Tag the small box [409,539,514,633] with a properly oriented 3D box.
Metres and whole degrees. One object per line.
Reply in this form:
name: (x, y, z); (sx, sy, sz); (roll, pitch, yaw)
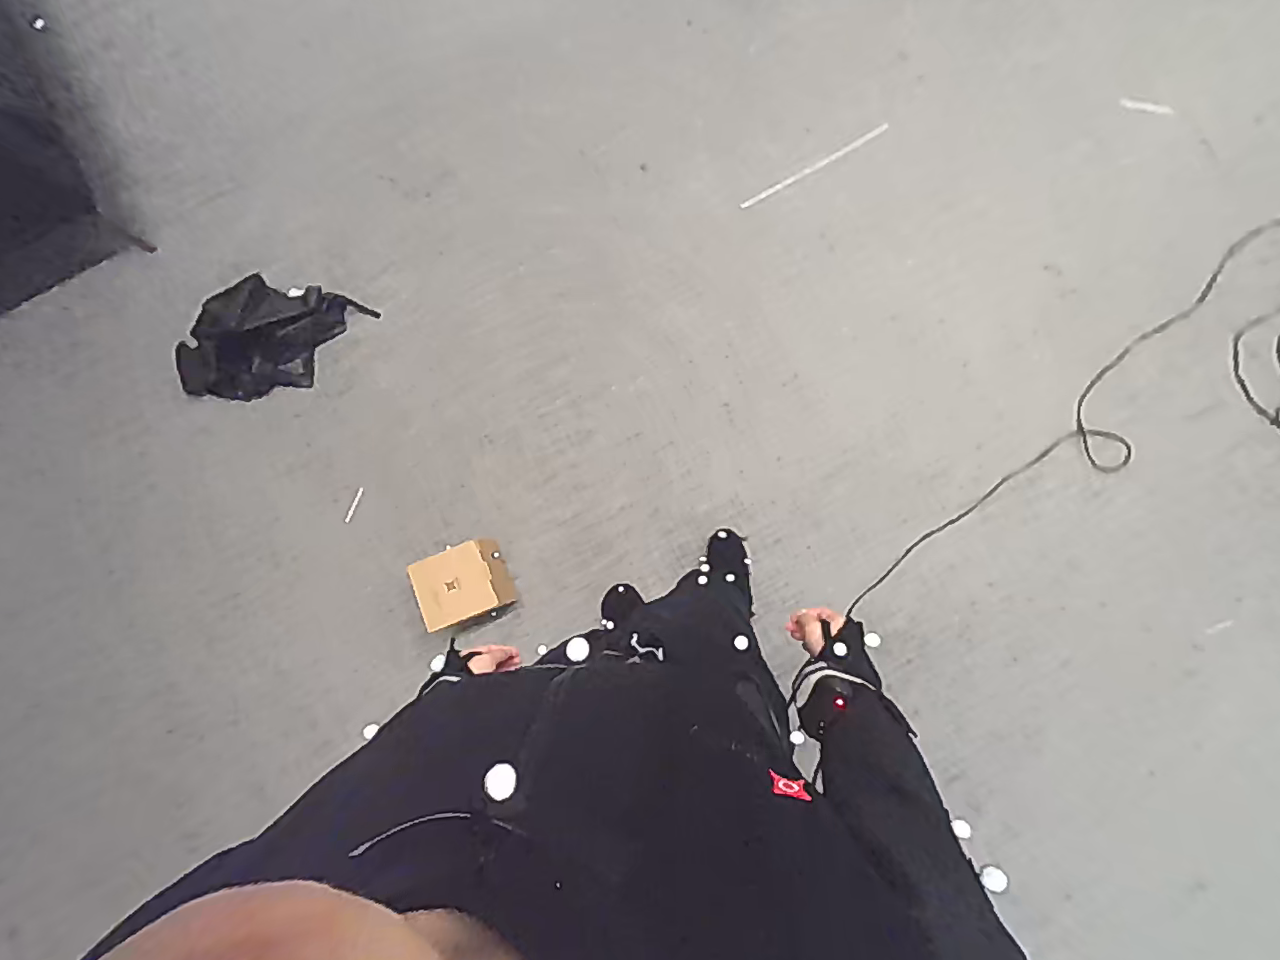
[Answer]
small box: (-0.420, 0.252, 1.309); (0.179, 0.176, 0.168); (-23, 80, 0)
